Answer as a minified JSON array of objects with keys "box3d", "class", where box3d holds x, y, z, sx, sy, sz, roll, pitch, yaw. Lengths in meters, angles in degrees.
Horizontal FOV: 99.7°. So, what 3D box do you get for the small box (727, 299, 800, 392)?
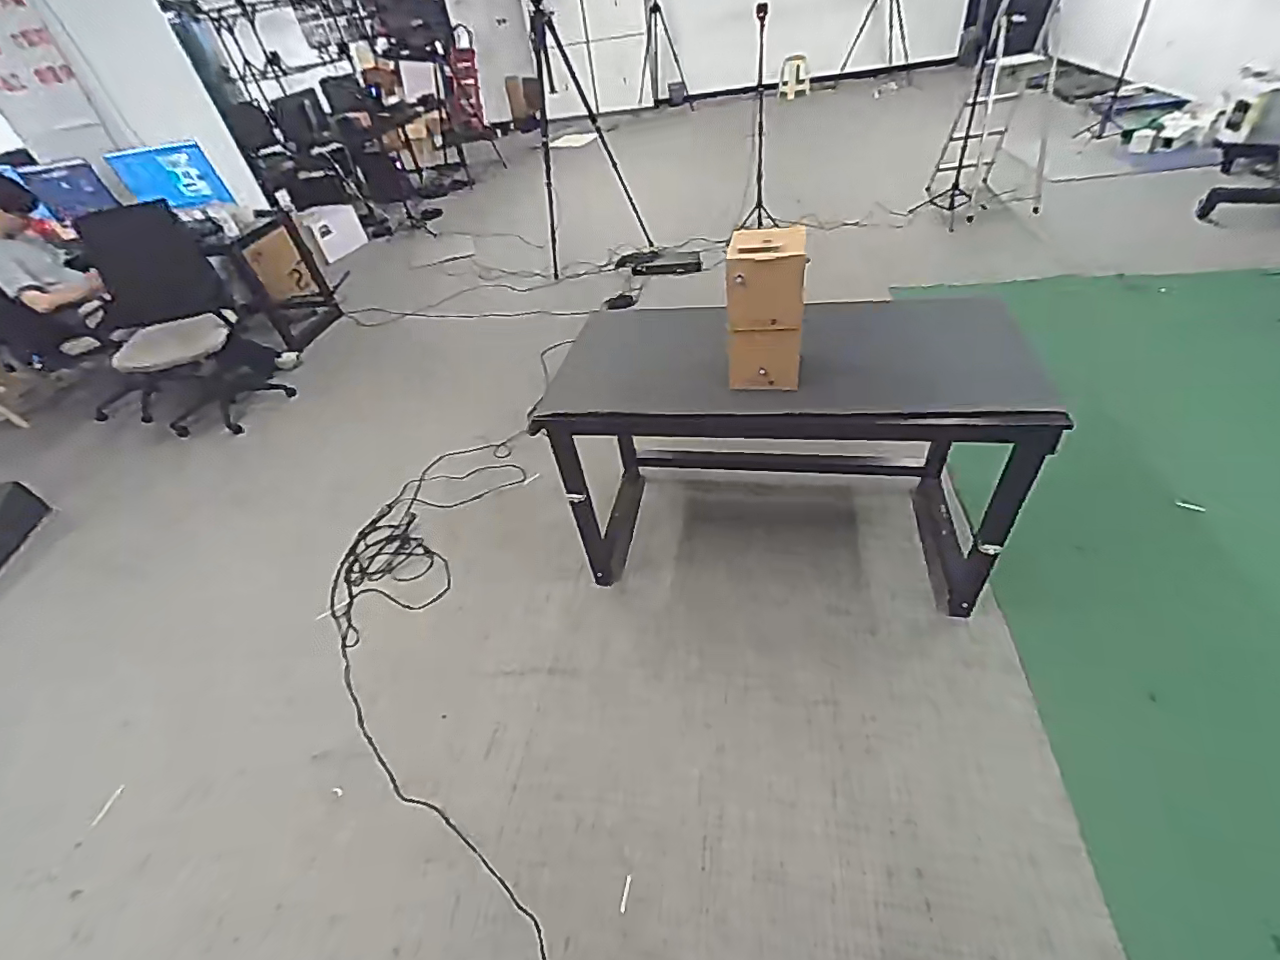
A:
[{"box3d":[0.310,-0.339,1.357,0.168,0.176,0.179,2,42,15],"class":"small box"}]
